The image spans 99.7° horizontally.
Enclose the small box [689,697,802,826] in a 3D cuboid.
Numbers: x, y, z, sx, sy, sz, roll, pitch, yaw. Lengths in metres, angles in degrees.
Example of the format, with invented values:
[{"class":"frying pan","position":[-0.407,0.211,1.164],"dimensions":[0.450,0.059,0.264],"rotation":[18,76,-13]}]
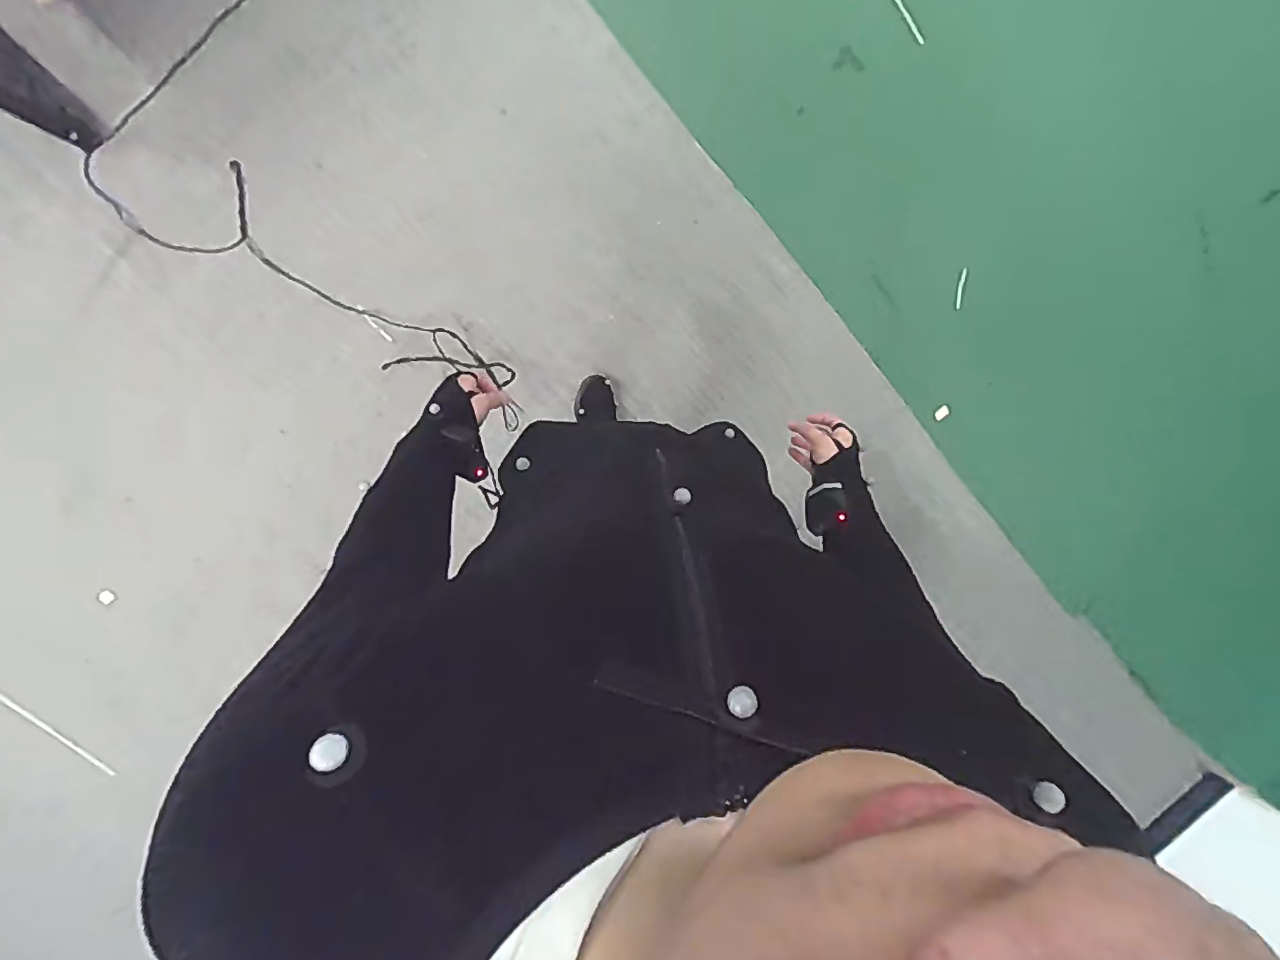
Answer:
[{"class":"small box","position":[0.234,0.635,1.252],"dimensions":[0.168,0.176,0.179],"rotation":[-38,101,1]}]
